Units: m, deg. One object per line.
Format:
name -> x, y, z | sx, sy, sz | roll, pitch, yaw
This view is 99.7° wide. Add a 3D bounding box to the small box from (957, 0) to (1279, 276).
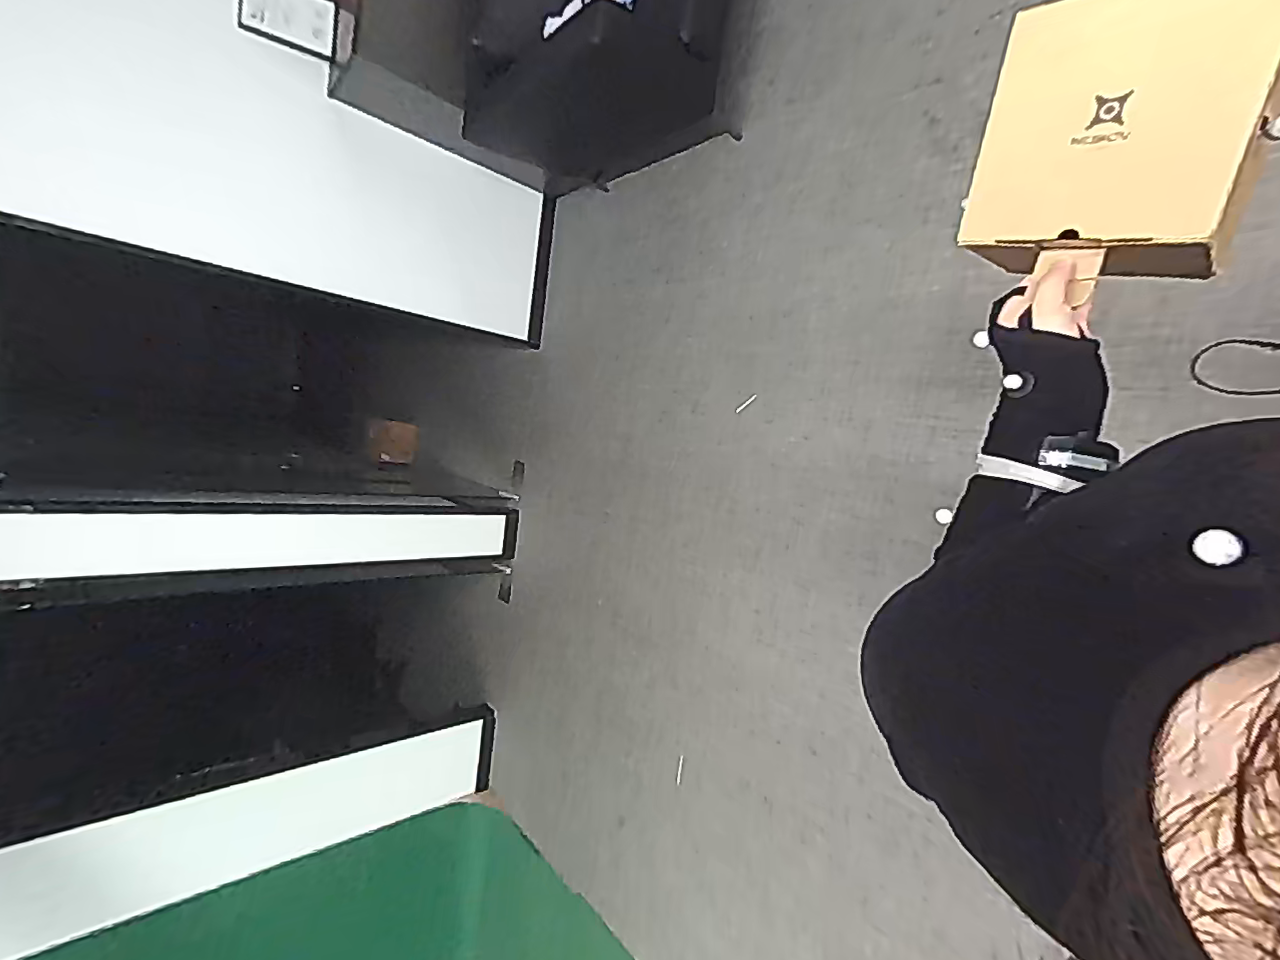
small box -> 0.406, -0.281, 0.461 | 0.168, 0.176, 0.179 | 23, 114, 42
